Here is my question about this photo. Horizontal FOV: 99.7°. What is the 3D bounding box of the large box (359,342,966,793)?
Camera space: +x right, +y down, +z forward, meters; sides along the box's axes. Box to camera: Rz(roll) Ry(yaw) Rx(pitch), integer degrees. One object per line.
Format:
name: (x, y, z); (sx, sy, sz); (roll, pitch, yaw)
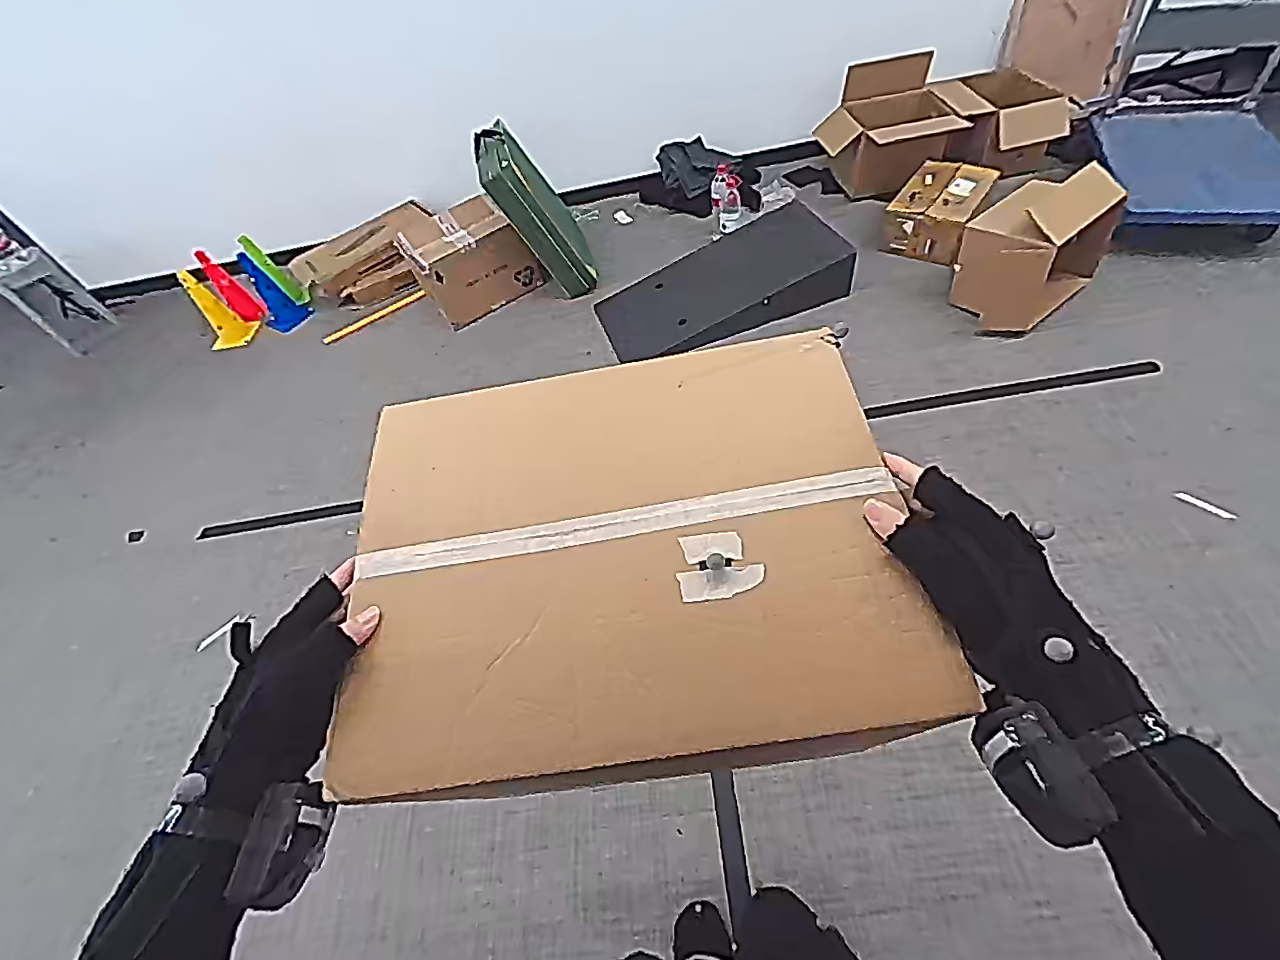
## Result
large box: (0.009, 0.112, 0.546); (0.408, 0.320, 0.320); (-9, 60, 3)
